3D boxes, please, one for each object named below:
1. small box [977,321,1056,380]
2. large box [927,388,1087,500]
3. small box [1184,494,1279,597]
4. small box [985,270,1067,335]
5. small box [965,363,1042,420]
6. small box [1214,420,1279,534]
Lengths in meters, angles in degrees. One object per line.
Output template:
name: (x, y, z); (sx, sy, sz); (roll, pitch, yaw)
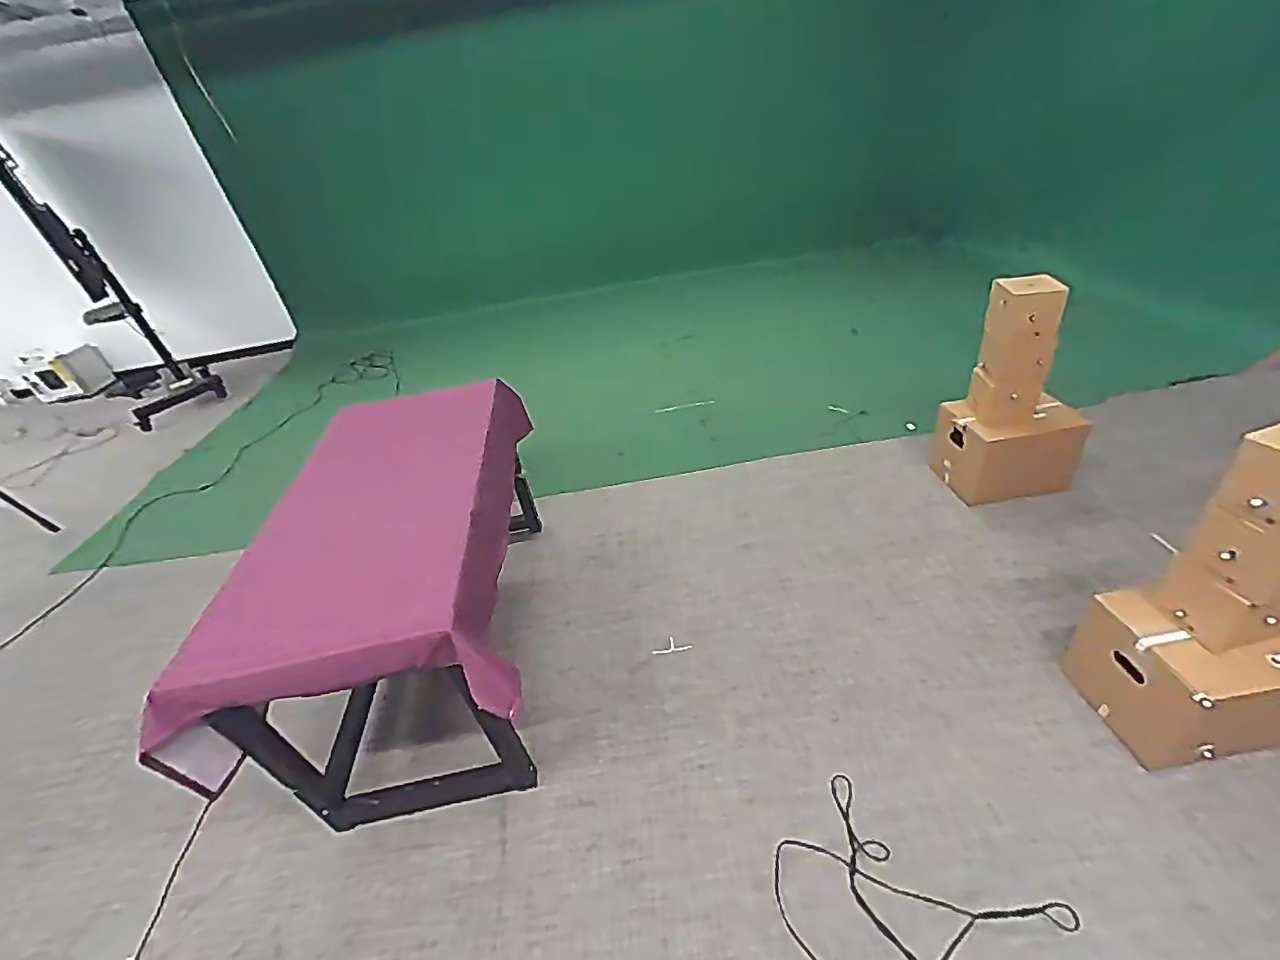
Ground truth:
small box: (1.362, -0.477, 1.968); (0.179, 0.176, 0.168); (-3, 36, 12)
large box: (1.462, -0.154, 2.196); (0.408, 0.320, 0.320); (-10, 36, -1)
small box: (1.338, 0.124, 1.163); (0.179, 0.176, 0.168); (-16, 35, -6)
small box: (1.333, -0.613, 1.880); (0.168, 0.176, 0.179); (-1, 36, 12)
small box: (1.376, -0.342, 2.059); (0.179, 0.176, 0.168); (-4, 36, 9)
small box: (1.315, -0.010, 1.068); (0.179, 0.176, 0.168); (-16, 35, -7)
